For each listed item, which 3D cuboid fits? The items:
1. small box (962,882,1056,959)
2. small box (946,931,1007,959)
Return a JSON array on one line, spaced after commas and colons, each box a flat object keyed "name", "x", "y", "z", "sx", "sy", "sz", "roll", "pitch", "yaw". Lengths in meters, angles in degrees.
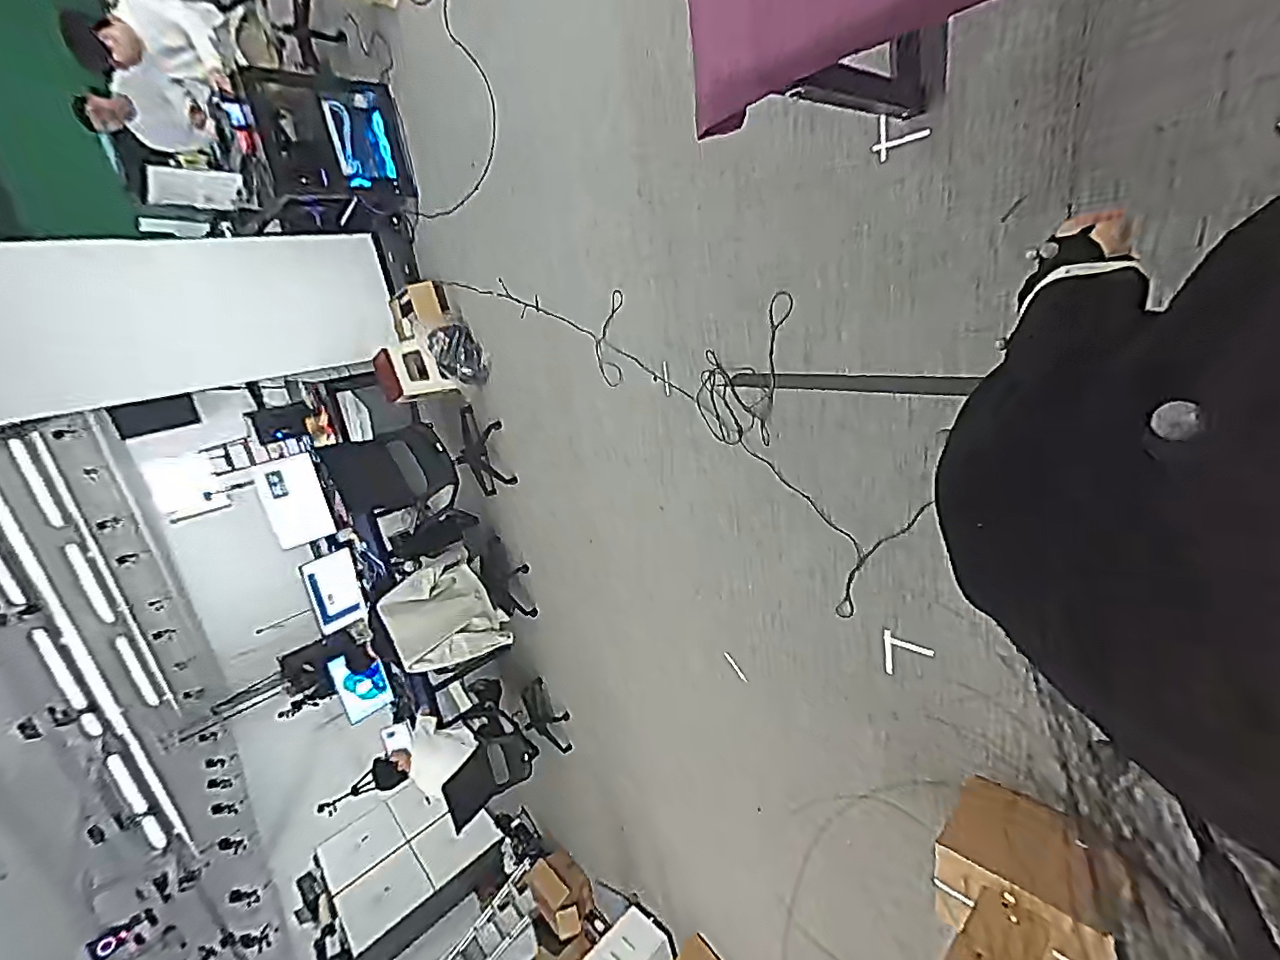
[{"name": "small box", "x": 0.952, "y": 1.210, "z": 1.396, "sx": 0.168, "sy": 0.176, "sz": 0.179, "roll": 8, "pitch": 115, "yaw": 48}, {"name": "small box", "x": 0.830, "y": 1.256, "z": 1.300, "sx": 0.168, "sy": 0.176, "sz": 0.179, "roll": 7, "pitch": 115, "yaw": 49}]
